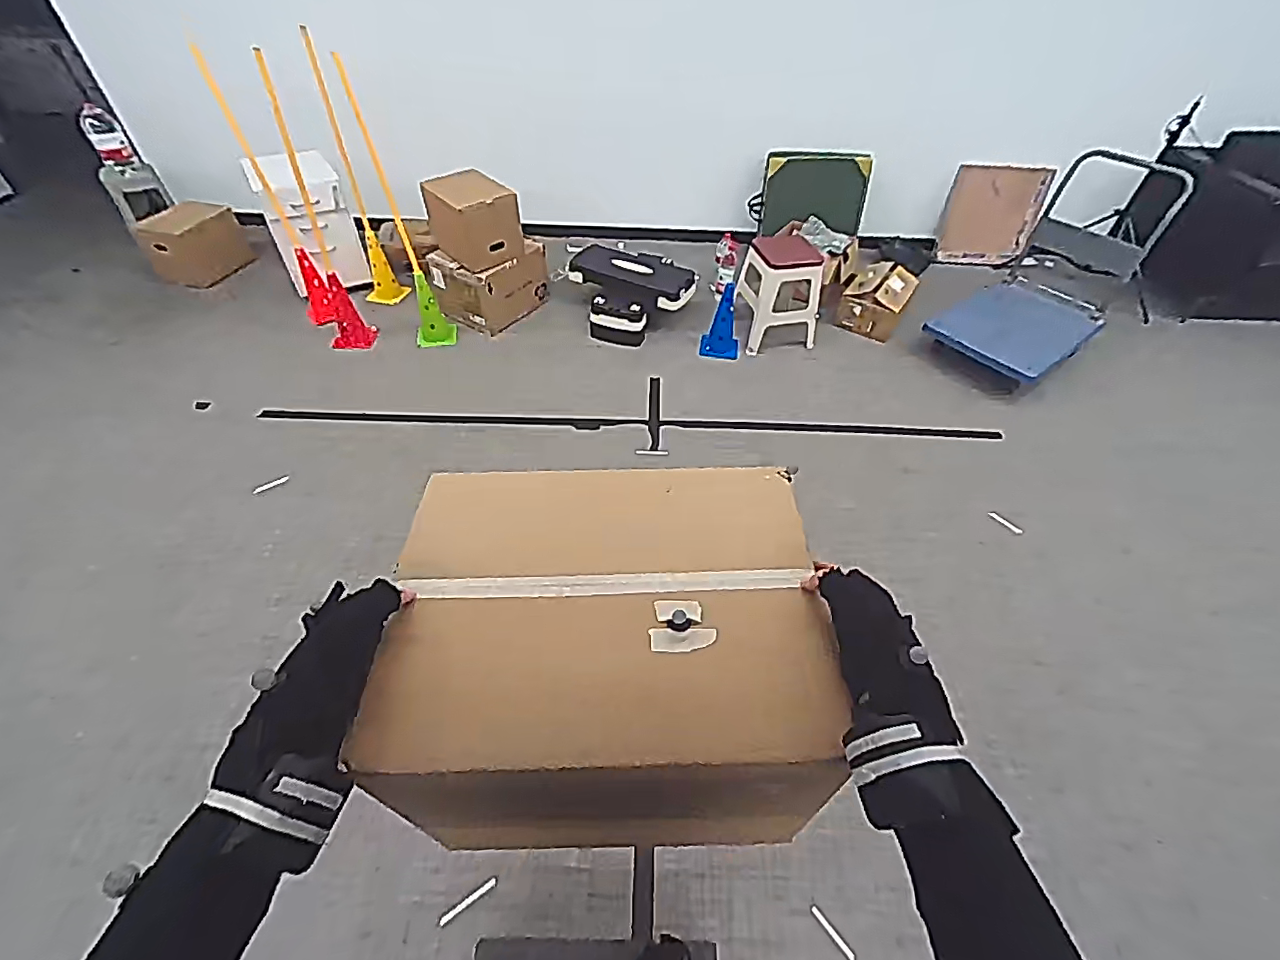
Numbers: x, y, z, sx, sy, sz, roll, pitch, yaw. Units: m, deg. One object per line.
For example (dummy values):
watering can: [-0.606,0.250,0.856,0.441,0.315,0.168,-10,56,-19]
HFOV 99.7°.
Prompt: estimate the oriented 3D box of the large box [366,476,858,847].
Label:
large box: [-0.025,0.213,0.638,0.408,0.320,0.320,-1,47,-1]
